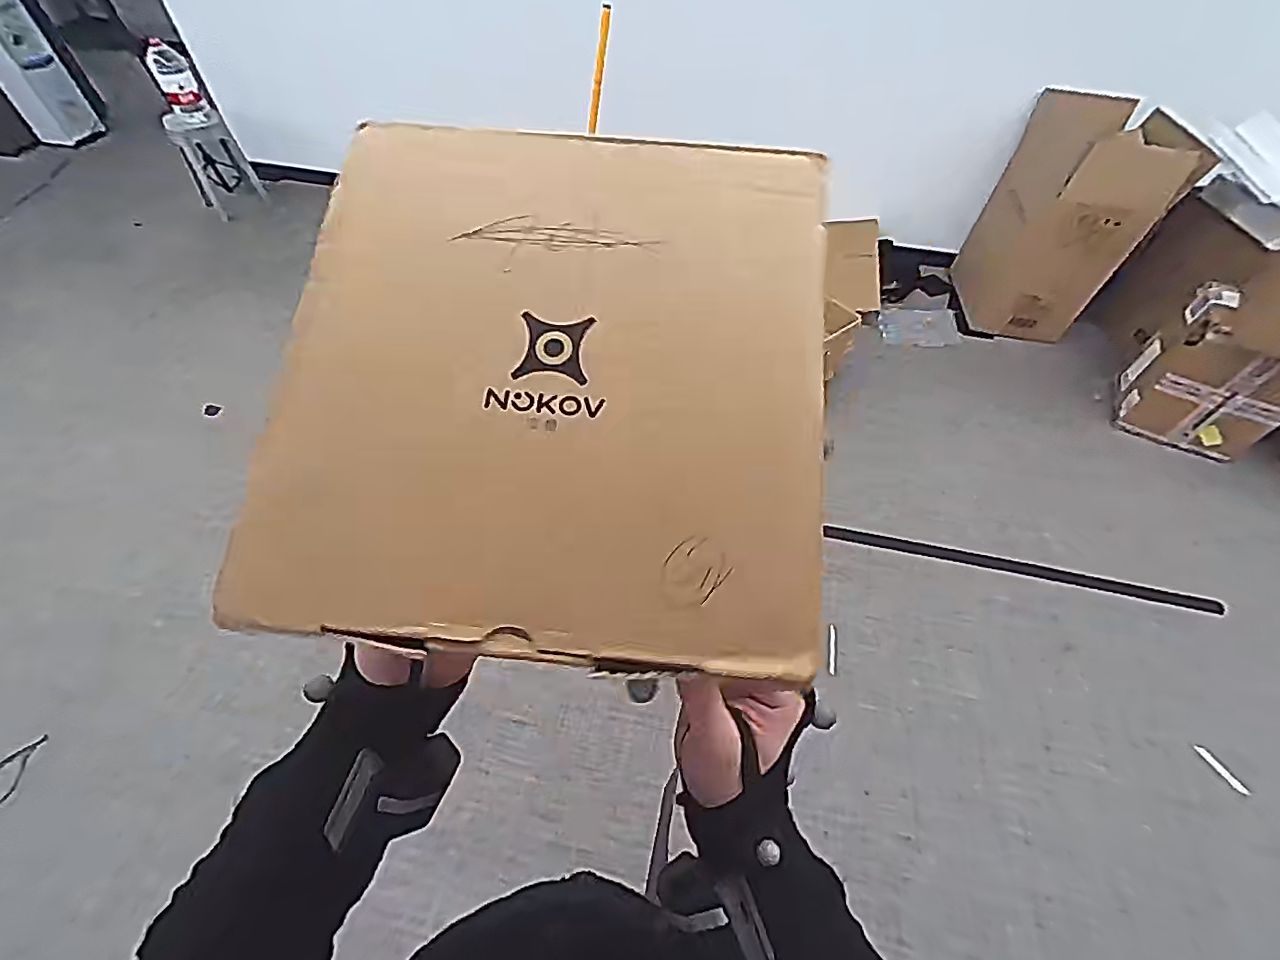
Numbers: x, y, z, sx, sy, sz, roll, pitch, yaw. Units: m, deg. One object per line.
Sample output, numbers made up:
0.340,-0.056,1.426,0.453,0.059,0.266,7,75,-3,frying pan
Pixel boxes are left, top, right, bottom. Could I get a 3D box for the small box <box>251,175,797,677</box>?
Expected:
-0.029,-0.007,0.258,0.168,0.176,0.179,3,73,1,small box
